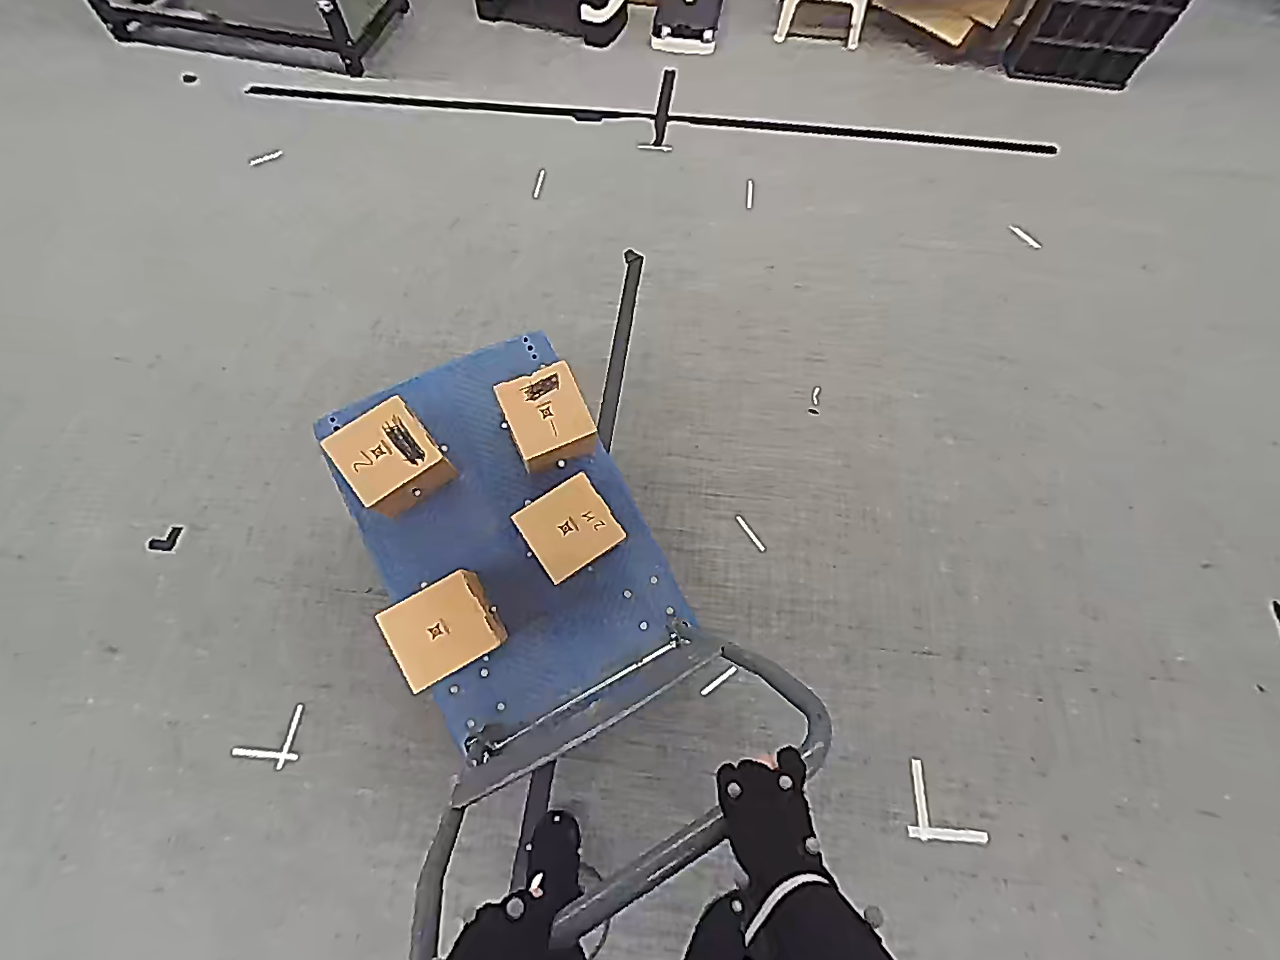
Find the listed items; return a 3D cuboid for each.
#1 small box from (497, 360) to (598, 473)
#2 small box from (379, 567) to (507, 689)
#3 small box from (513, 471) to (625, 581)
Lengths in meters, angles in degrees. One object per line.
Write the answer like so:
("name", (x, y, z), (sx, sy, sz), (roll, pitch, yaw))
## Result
("small box", (-0.206, -0.136, 1.210), (0.168, 0.176, 0.179), (-24, 84, -11))
("small box", (-0.389, 0.296, 1.098), (0.179, 0.176, 0.168), (-29, 83, -14))
("small box", (-0.151, 0.107, 1.167), (0.179, 0.176, 0.168), (-33, 85, -12))
